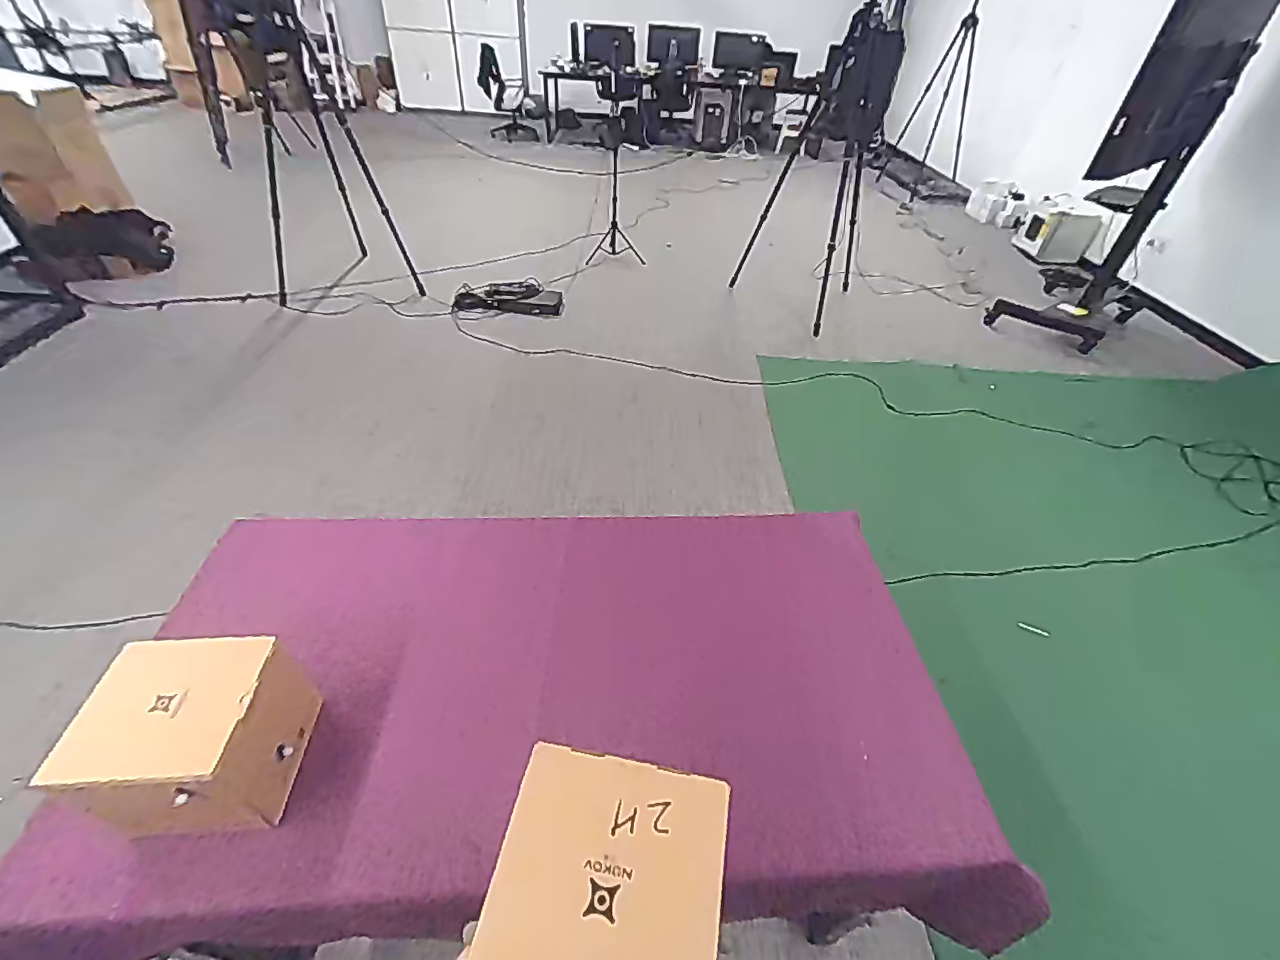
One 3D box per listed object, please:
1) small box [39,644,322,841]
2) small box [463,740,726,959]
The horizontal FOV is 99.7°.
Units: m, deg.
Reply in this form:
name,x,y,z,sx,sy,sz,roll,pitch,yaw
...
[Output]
name,x,y,z,sx,sy,sz,roll,pitch,yaw
small box,-0.532,0.321,0.663,0.179,0.176,0.168,0,41,-6
small box,-0.027,0.351,0.448,0.168,0.176,0.179,9,44,8
